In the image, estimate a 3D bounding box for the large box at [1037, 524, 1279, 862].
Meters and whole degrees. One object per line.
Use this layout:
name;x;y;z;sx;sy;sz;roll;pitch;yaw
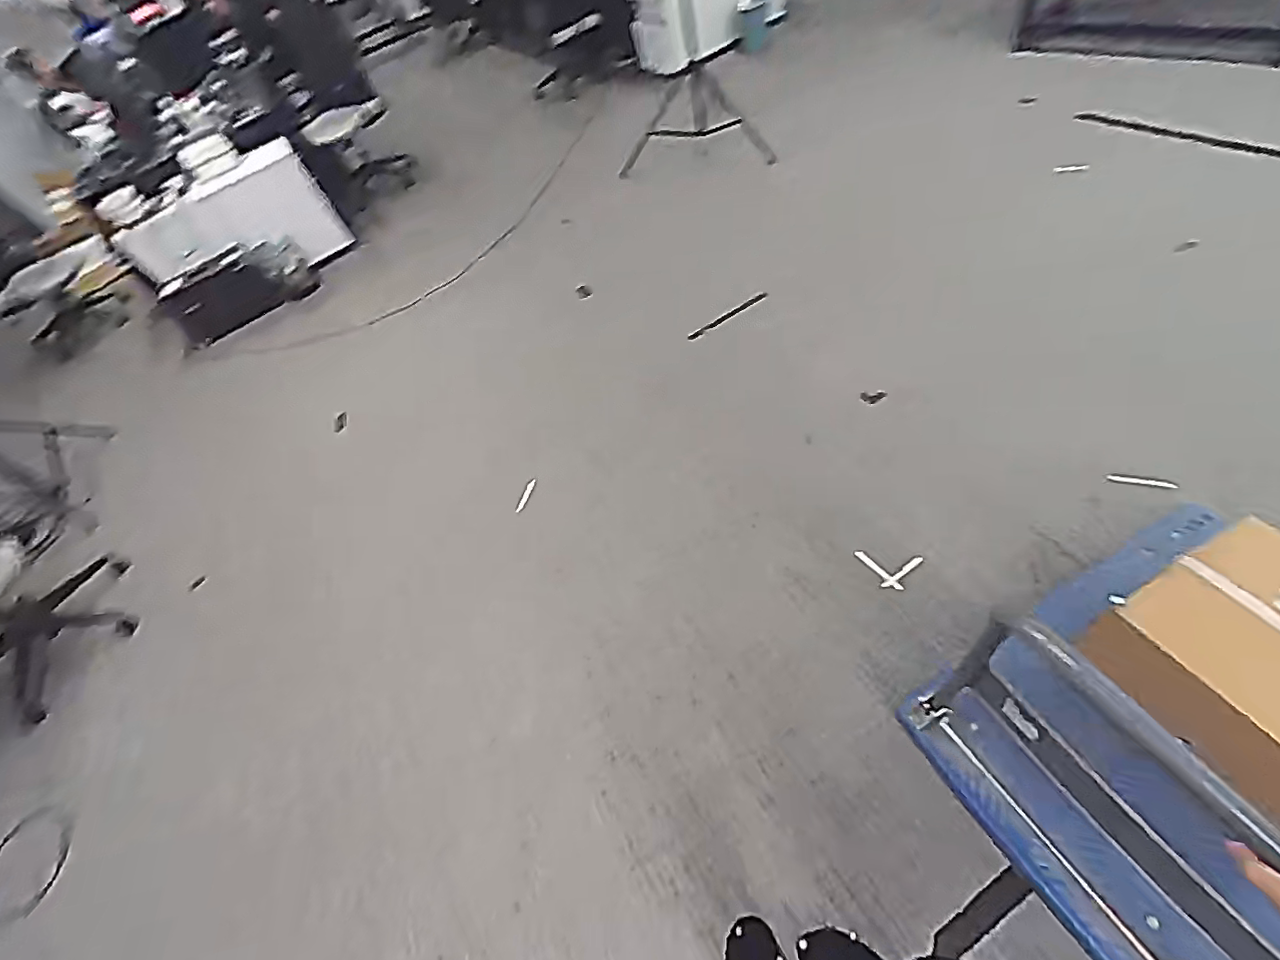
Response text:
large box;1.031;0.365;0.943;0.320;0.320;0.408;-30;51;-8
